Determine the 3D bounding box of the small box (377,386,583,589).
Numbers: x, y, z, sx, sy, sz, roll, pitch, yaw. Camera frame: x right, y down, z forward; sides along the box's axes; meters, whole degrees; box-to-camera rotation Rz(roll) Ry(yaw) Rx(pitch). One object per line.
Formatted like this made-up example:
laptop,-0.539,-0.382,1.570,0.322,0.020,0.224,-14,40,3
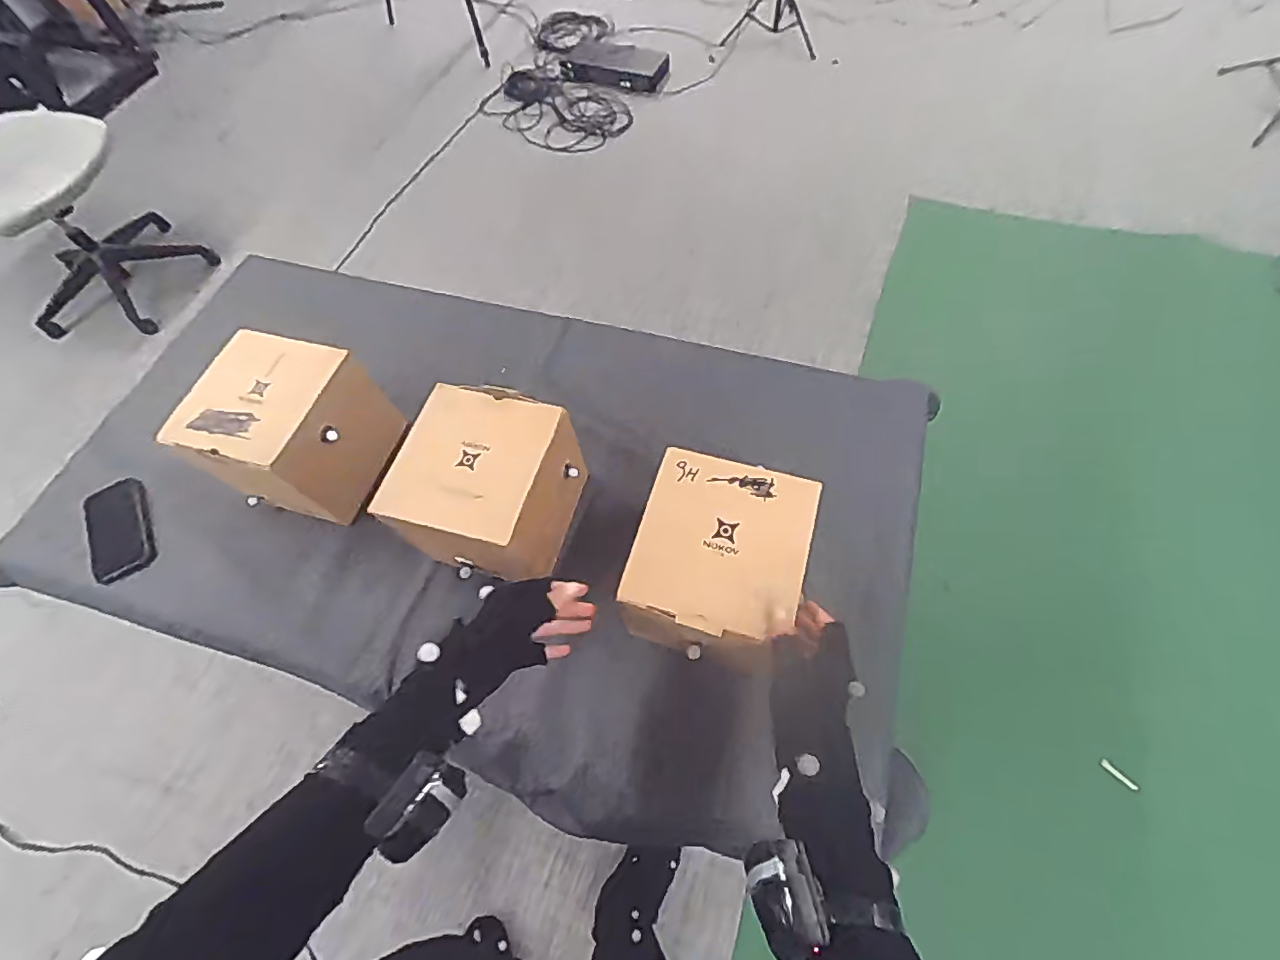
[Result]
small box,-0.177,0.014,0.669,0.168,0.176,0.179,12,65,11

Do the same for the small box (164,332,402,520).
small box,-0.456,-0.065,0.727,0.168,0.176,0.179,13,64,10

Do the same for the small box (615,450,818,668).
small box,0.085,0.096,0.605,0.168,0.176,0.179,15,66,12
